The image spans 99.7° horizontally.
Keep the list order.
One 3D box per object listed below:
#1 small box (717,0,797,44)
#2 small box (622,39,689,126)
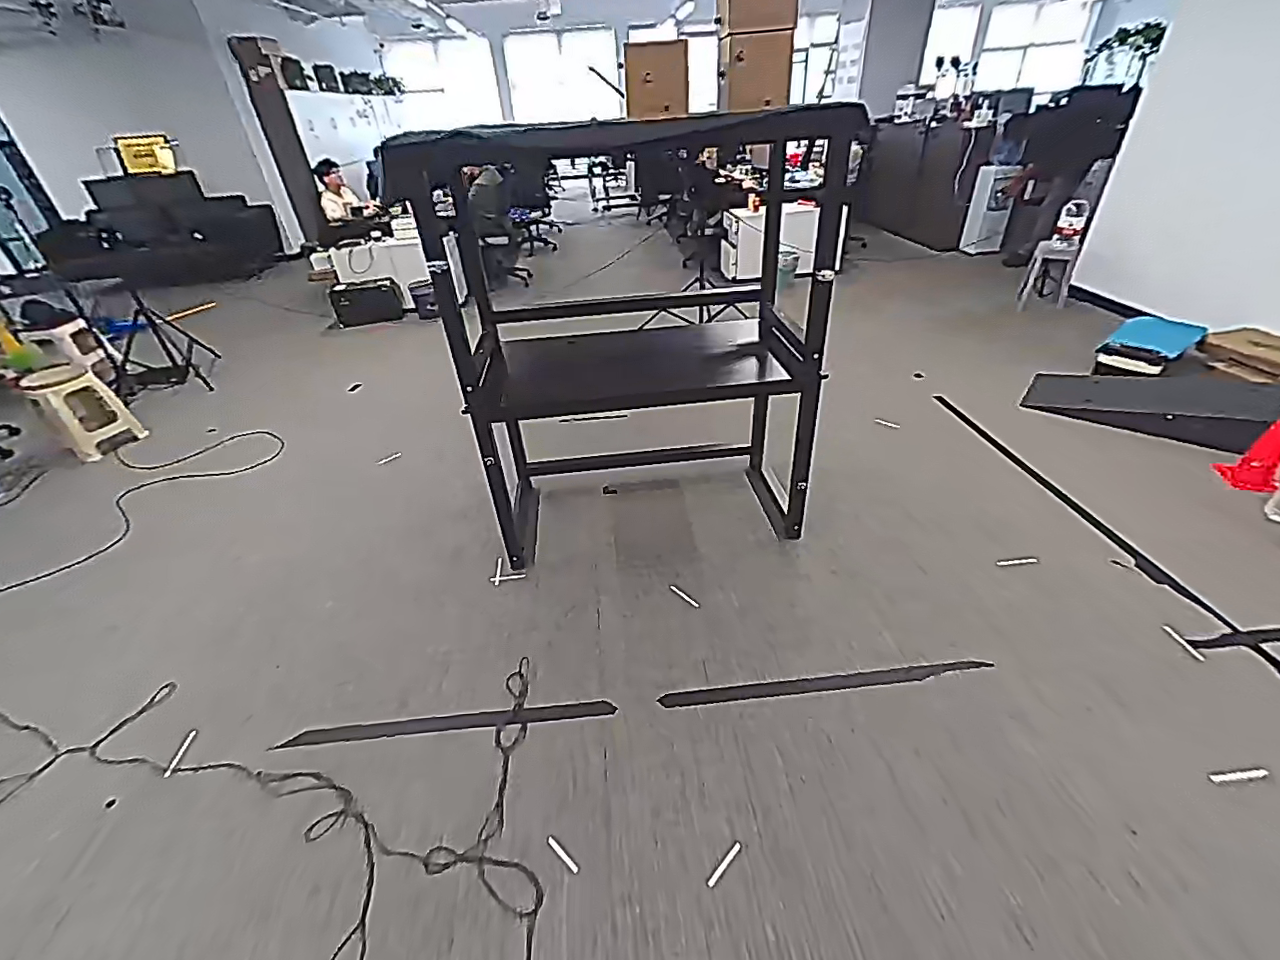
[{"bbox_3d":[0.290,-1.208,1.347,0.179,0.176,0.168,-7,32,-1],"label":"small box"},{"bbox_3d":[0.042,-1.058,1.448,0.168,0.176,0.179,-4,33,0],"label":"small box"}]
